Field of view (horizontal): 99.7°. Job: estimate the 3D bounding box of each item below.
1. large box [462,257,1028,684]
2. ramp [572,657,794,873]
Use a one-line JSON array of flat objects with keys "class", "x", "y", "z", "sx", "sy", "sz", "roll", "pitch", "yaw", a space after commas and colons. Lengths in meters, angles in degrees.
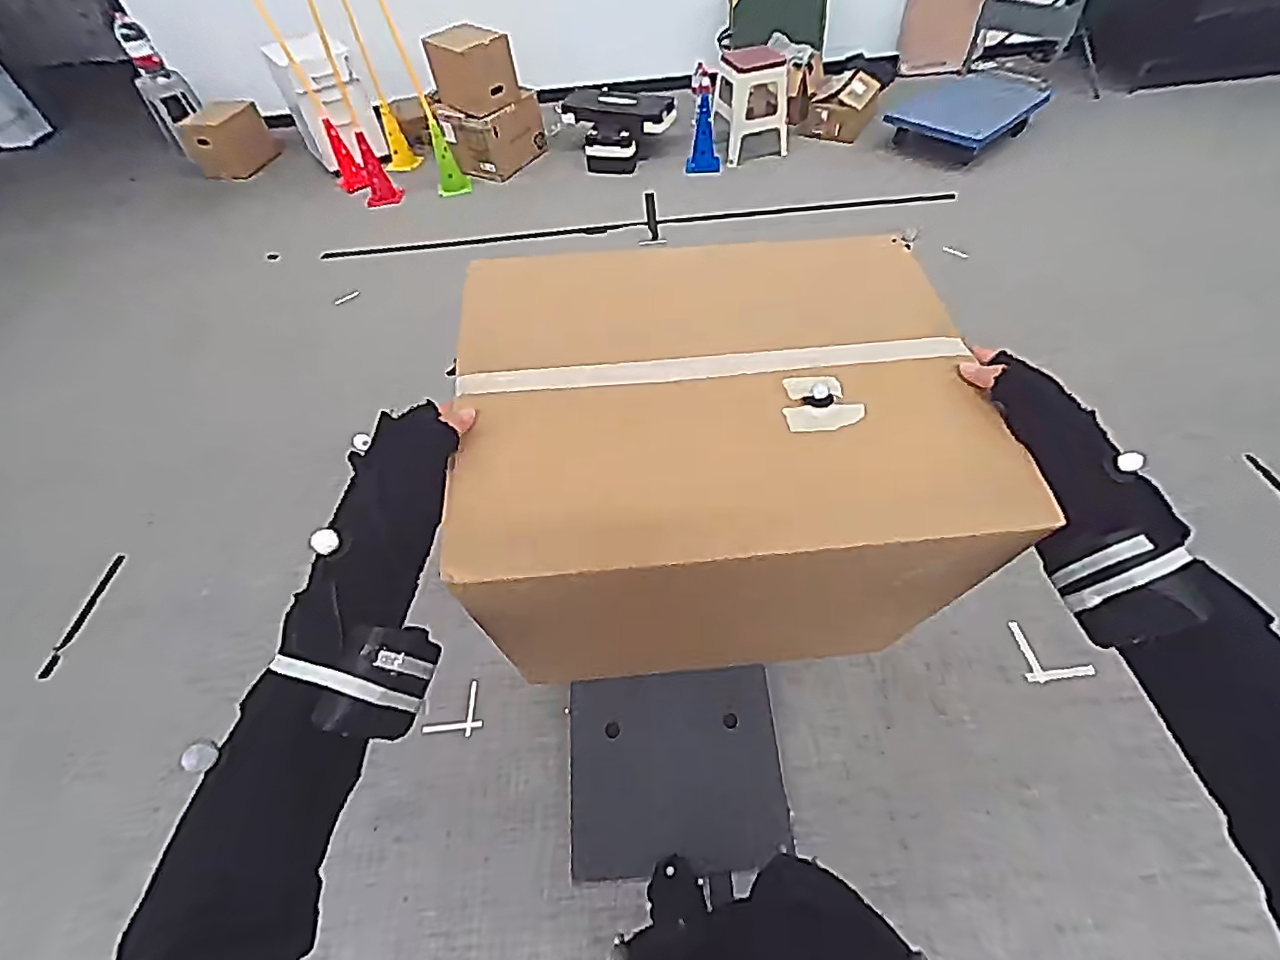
[{"class": "large box", "x": 0.060, "y": 0.003, "z": 0.570, "sx": 0.408, "sy": 0.320, "sz": 0.320, "roll": -5, "pitch": 58, "yaw": -3}, {"class": "ramp", "x": 0.064, "y": 0.406, "z": 1.416, "sx": 0.509, "sy": 0.206, "sz": 0.991, "roll": -6, "pitch": 53, "yaw": -1}]
